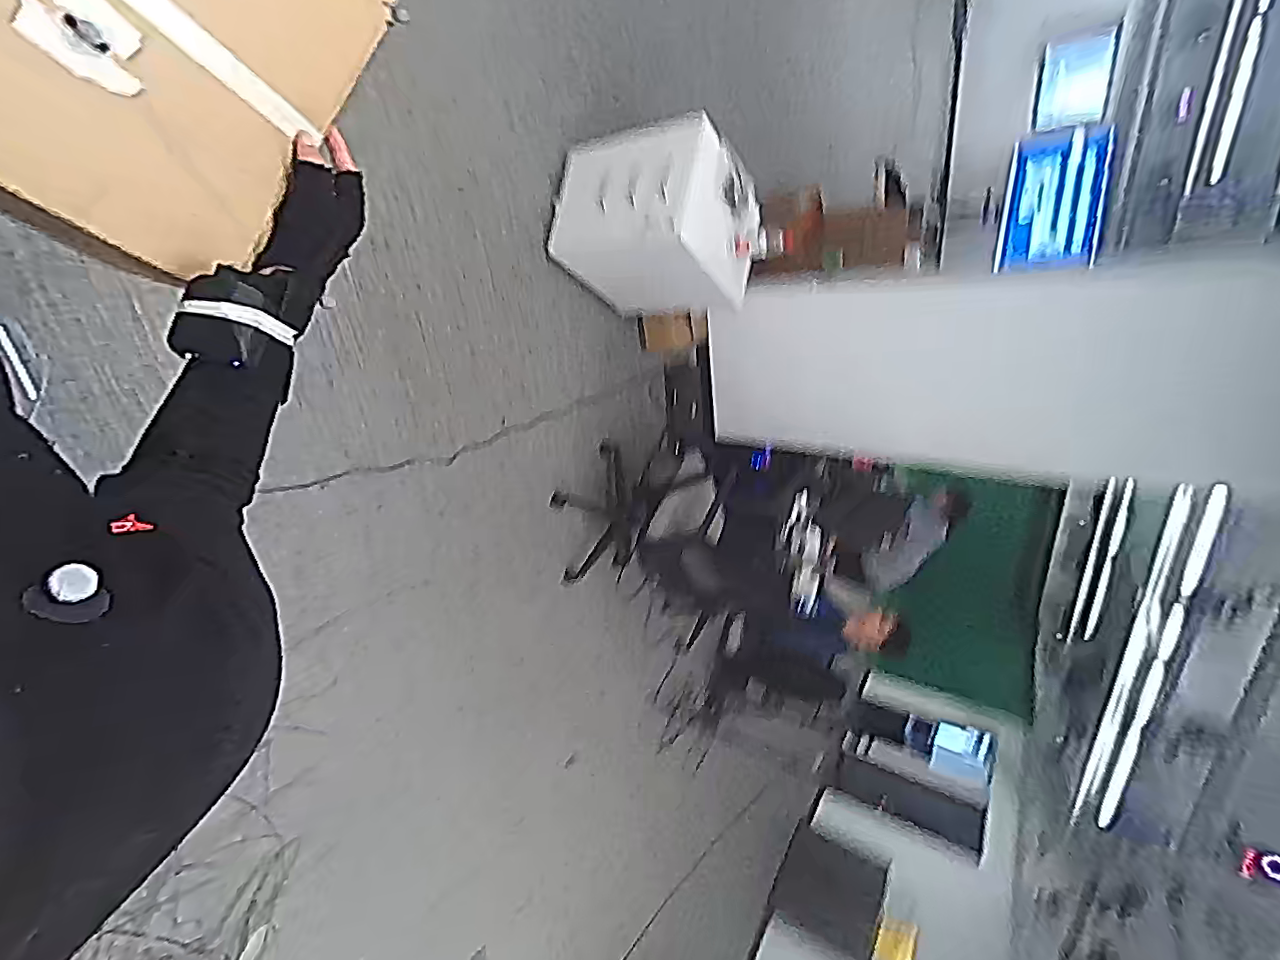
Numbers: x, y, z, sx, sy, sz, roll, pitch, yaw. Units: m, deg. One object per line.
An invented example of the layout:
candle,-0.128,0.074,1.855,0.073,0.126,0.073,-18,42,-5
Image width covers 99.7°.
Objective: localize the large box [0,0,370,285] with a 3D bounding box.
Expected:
large box,-0.505,-0.396,0.378,0.408,0.320,0.320,31,82,-59
